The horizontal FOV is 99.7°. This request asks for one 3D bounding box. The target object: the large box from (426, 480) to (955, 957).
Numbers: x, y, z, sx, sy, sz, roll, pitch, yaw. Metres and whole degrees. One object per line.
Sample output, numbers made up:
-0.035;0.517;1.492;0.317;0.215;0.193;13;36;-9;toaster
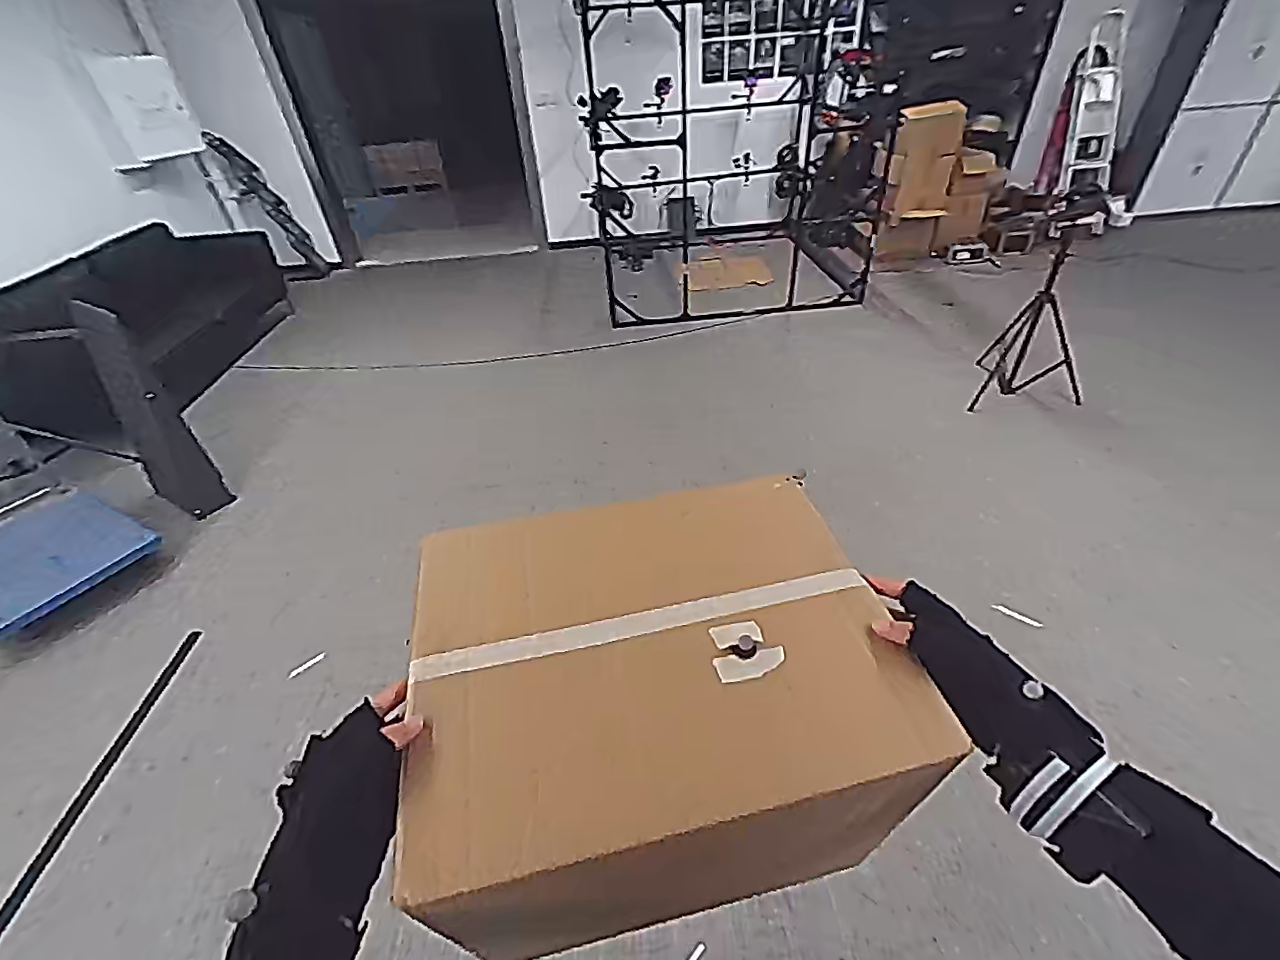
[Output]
0.017;0.240;0.586;0.408;0.320;0.320;-9;44;-9;large box
